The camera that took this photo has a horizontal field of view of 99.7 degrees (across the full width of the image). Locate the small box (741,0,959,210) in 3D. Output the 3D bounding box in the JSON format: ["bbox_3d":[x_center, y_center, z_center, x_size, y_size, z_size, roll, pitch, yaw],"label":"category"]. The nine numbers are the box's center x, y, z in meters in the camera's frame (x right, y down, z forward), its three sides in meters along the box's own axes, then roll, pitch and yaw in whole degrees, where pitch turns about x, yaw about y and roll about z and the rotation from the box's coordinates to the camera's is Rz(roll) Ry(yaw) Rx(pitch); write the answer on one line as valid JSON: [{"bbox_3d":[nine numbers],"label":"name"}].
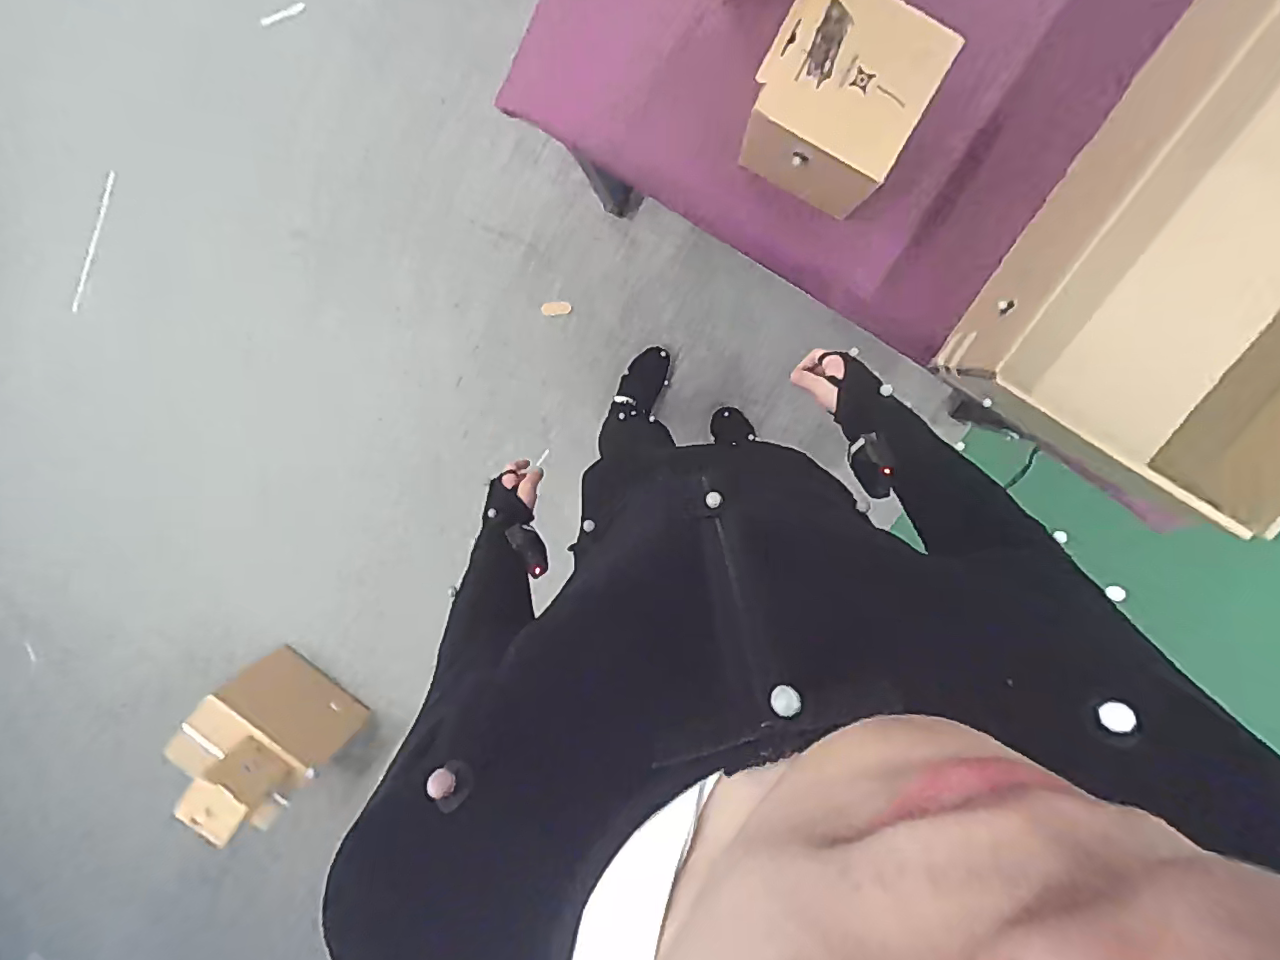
[{"bbox_3d":[0.245,-0.475,0.687,0.179,0.176,0.168,28,103,-2],"label":"small box"}]

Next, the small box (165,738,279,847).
[{"bbox_3d":[-1.193,0.893,1.560,0.168,0.176,0.179,38,102,-4],"label":"small box"}]
